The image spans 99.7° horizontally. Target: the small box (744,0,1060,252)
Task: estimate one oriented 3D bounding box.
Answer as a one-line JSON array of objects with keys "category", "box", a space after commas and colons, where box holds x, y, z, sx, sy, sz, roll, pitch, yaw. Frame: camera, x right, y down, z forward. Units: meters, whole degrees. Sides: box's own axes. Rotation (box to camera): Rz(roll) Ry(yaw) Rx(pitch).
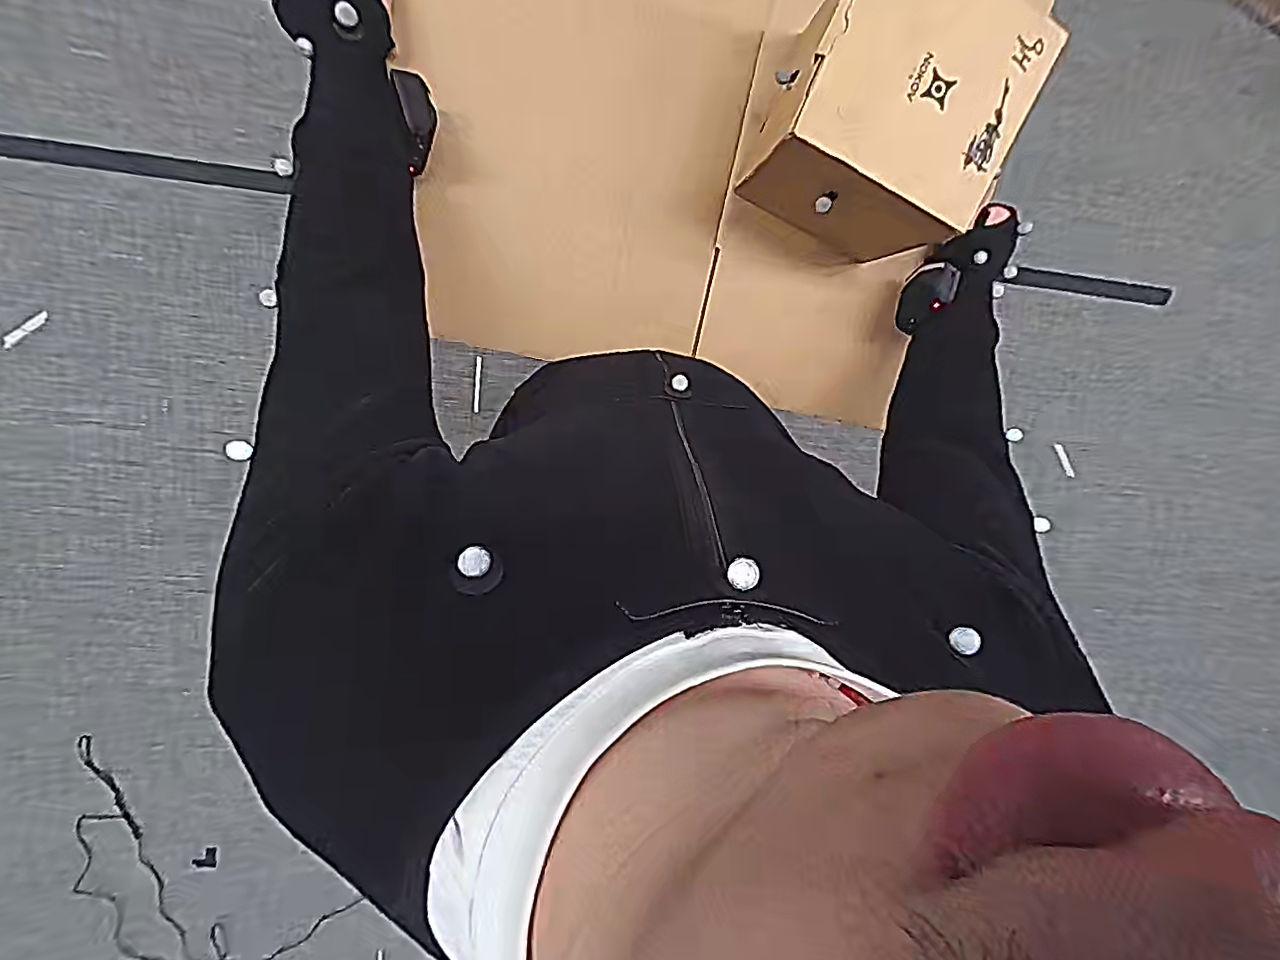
[{"category": "small box", "box": [0.222, -0.339, 0.512, 0.179, 0.176, 0.168, 23, 100, -10]}]
